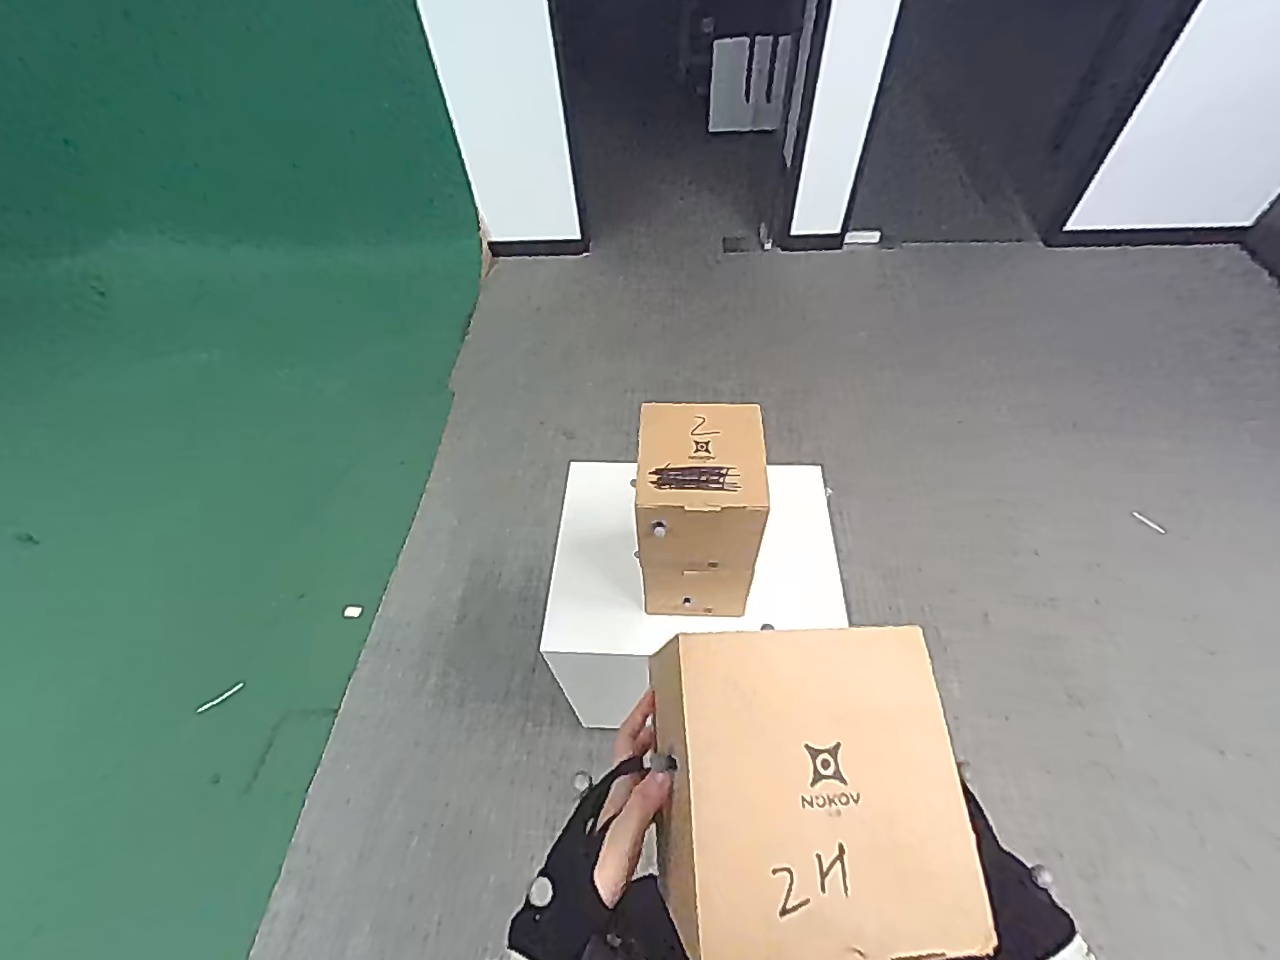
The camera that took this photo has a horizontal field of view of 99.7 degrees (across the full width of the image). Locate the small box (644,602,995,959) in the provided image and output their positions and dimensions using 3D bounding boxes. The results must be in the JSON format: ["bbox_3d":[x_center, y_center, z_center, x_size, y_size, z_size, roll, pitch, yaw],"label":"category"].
[{"bbox_3d":[0.094,0.192,0.381,0.168,0.176,0.179,0,65,-5],"label":"small box"}]

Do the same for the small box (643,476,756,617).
[{"bbox_3d":[0.092,0.113,0.888,0.168,0.176,0.179,1,52,4],"label":"small box"}]
